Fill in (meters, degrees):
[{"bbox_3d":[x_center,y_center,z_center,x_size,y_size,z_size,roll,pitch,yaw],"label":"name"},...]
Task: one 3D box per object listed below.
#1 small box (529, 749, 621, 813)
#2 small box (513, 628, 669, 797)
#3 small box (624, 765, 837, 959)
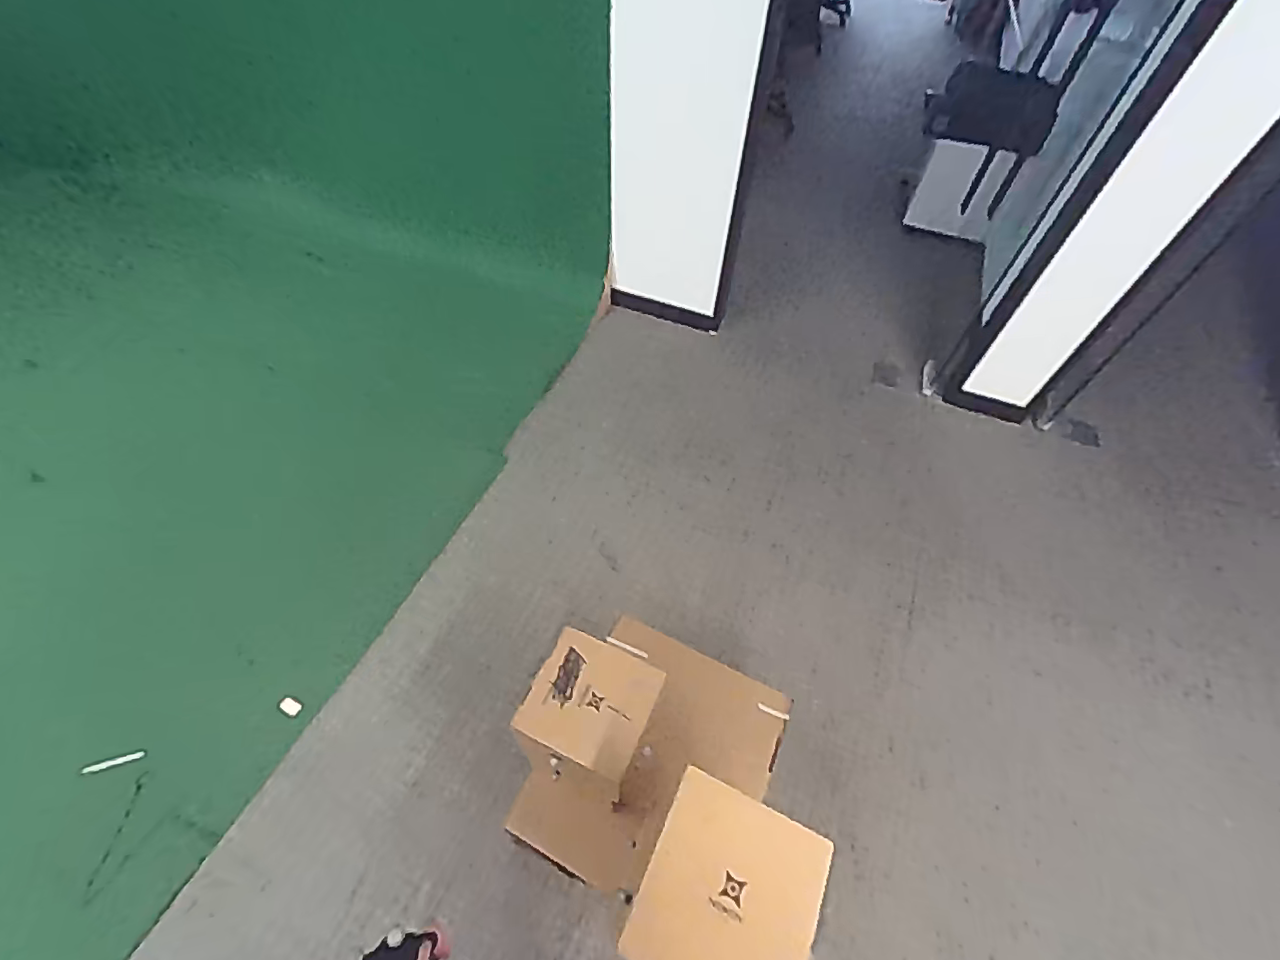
[{"bbox_3d":[-0.081,0.464,0.976,0.168,0.176,0.179,22,53,13],"label":"small box"},{"bbox_3d":[-0.069,0.366,0.842,0.179,0.176,0.168,20,54,14],"label":"small box"},{"bbox_3d":[0.088,0.447,0.586,0.168,0.176,0.179,23,56,13],"label":"small box"}]
